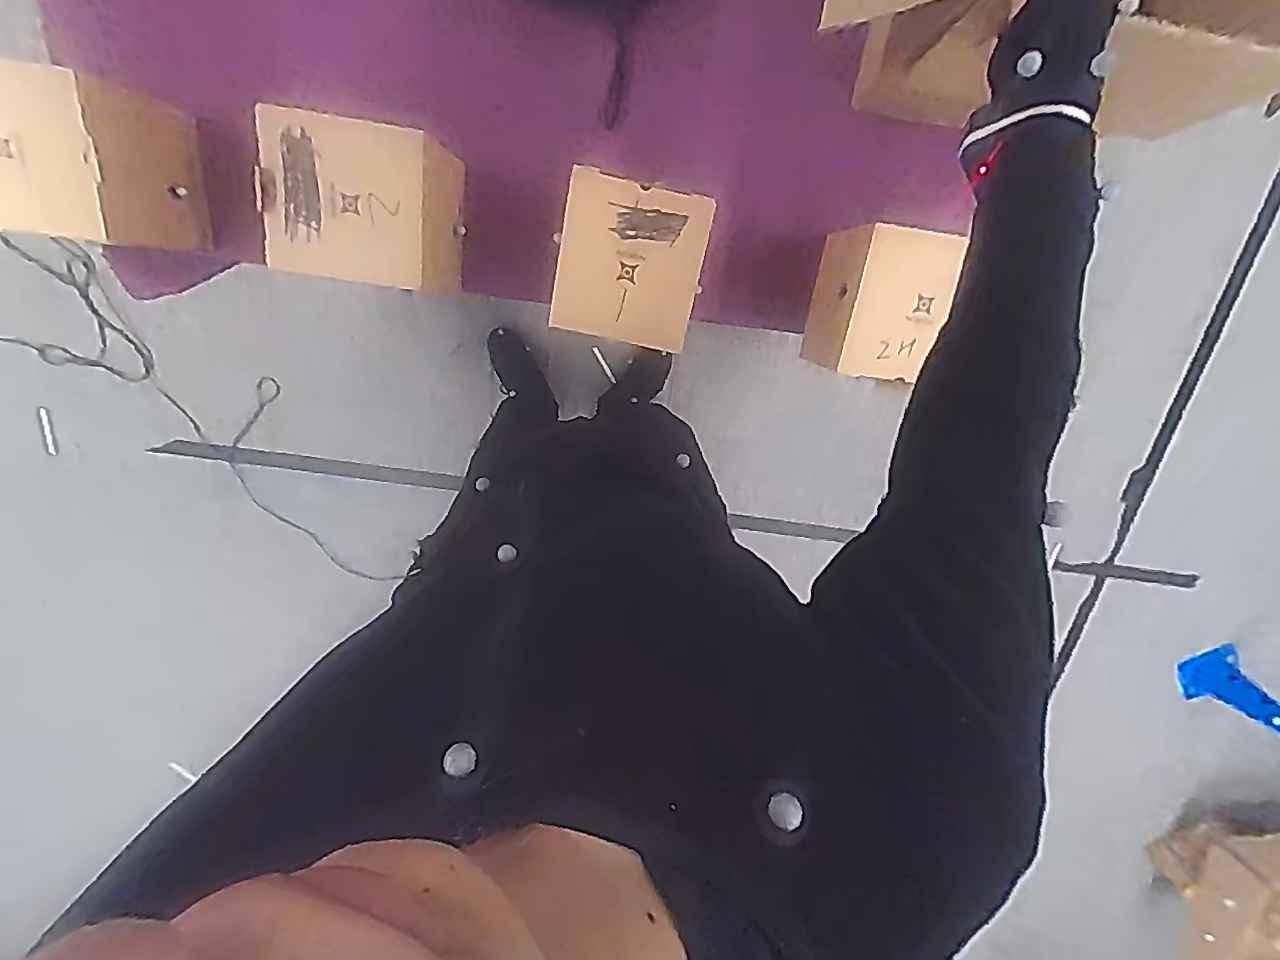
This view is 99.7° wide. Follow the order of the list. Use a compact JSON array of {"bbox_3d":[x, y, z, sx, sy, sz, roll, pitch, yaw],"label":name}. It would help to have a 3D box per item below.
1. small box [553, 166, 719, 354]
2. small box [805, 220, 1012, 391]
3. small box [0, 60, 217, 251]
[{"bbox_3d":[-0.009,-0.276,0.699,0.168,0.176,0.179,11,110,-5],"label":"small box"},{"bbox_3d":[0.337,-0.230,0.721,0.168,0.176,0.179,8,110,-3],"label":"small box"},{"bbox_3d":[-0.664,-0.376,0.648,0.179,0.176,0.168,5,109,-5],"label":"small box"}]
